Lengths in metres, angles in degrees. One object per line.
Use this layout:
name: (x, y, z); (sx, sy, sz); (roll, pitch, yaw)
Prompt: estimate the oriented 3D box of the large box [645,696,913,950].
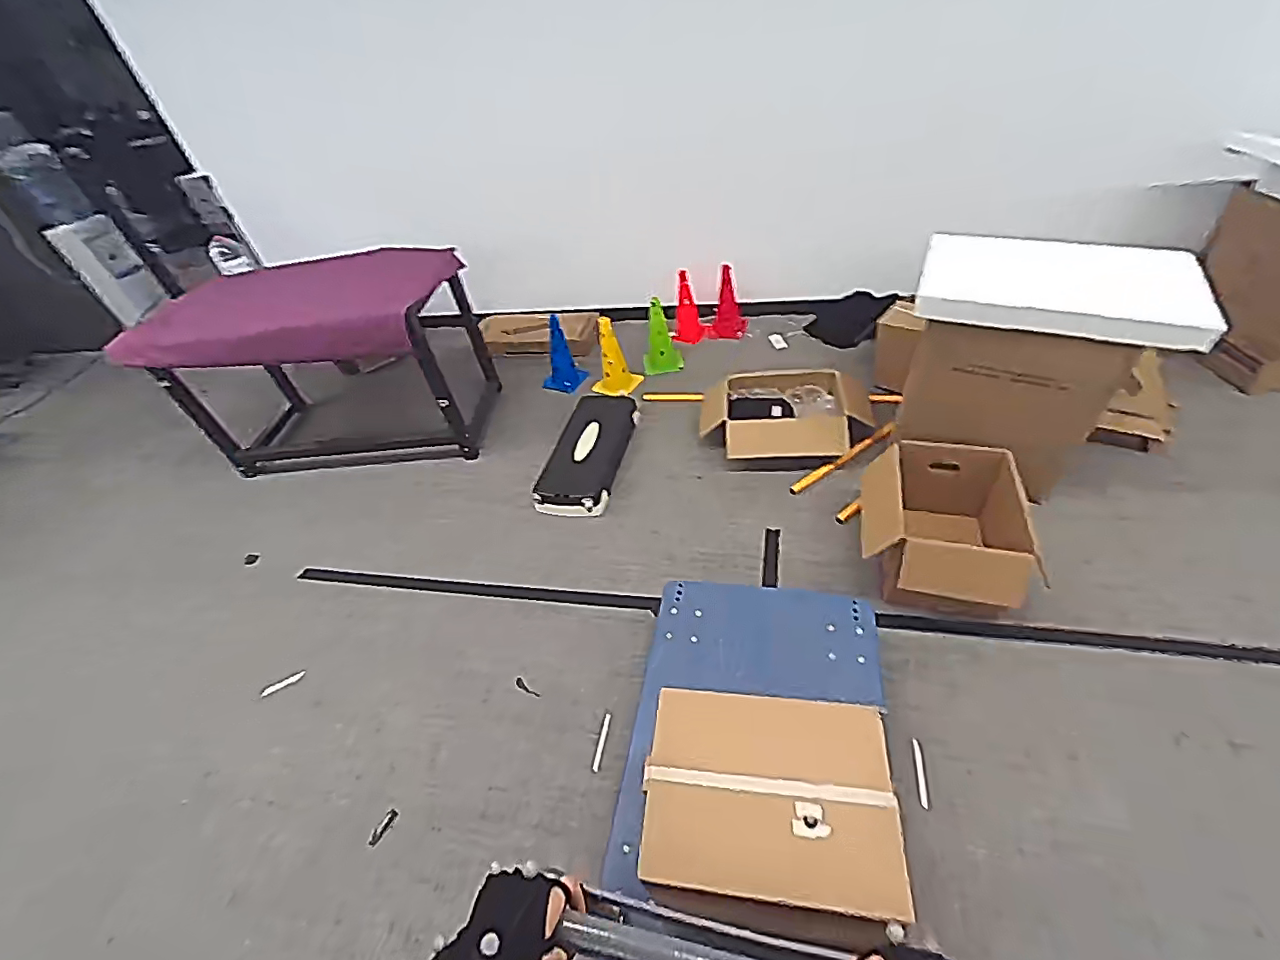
large box: (0.236, 0.637, 1.018); (0.408, 0.320, 0.320); (1, 44, 11)
